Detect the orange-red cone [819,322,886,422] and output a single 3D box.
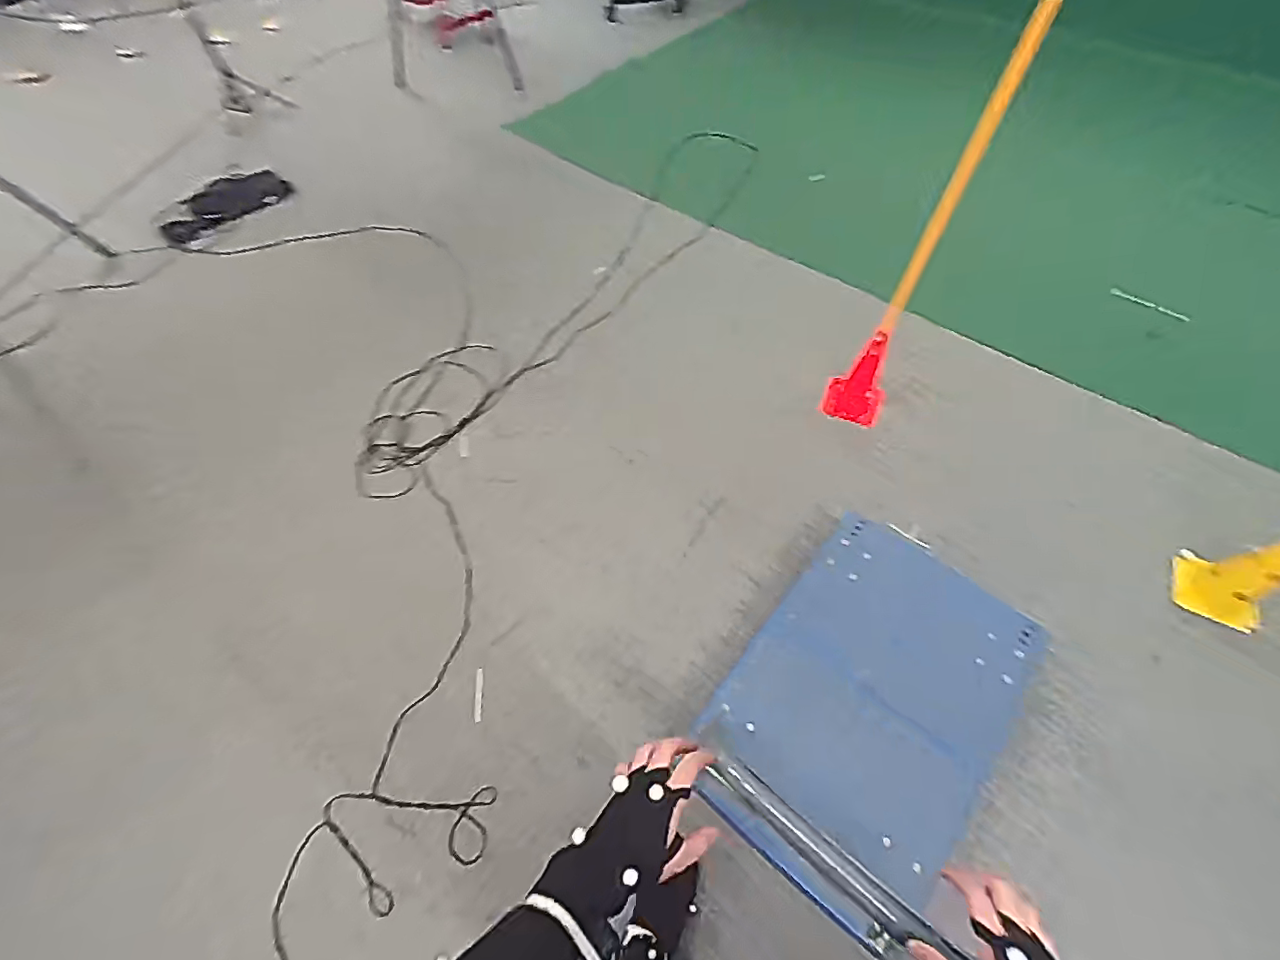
[{"bbox_3d":[0.781,-0.402,1.892,0.199,0.360,0.198,20,60,16],"label":"orange-red cone"}]
